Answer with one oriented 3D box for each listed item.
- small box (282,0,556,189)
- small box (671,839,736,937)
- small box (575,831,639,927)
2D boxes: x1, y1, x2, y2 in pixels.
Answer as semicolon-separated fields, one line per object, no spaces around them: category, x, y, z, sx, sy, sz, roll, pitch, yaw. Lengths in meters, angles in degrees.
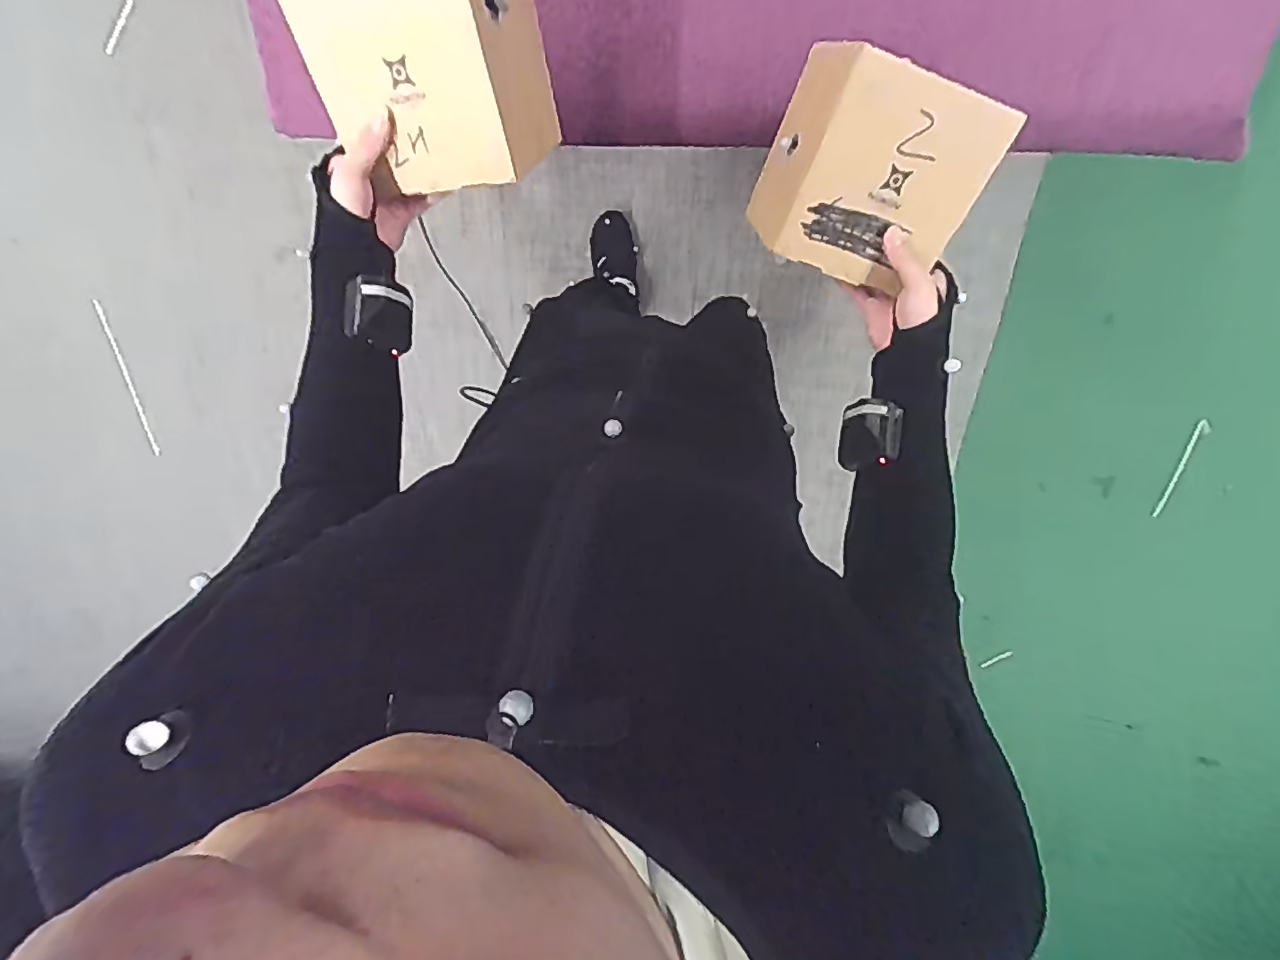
small box;-0.192;-0.402;0.517;0.168;0.176;0.179;1;134;11
small box;0.186;1.219;1.620;0.168;0.176;0.179;6;115;0
small box;-0.094;1.185;1.613;0.168;0.176;0.179;9;116;-1
